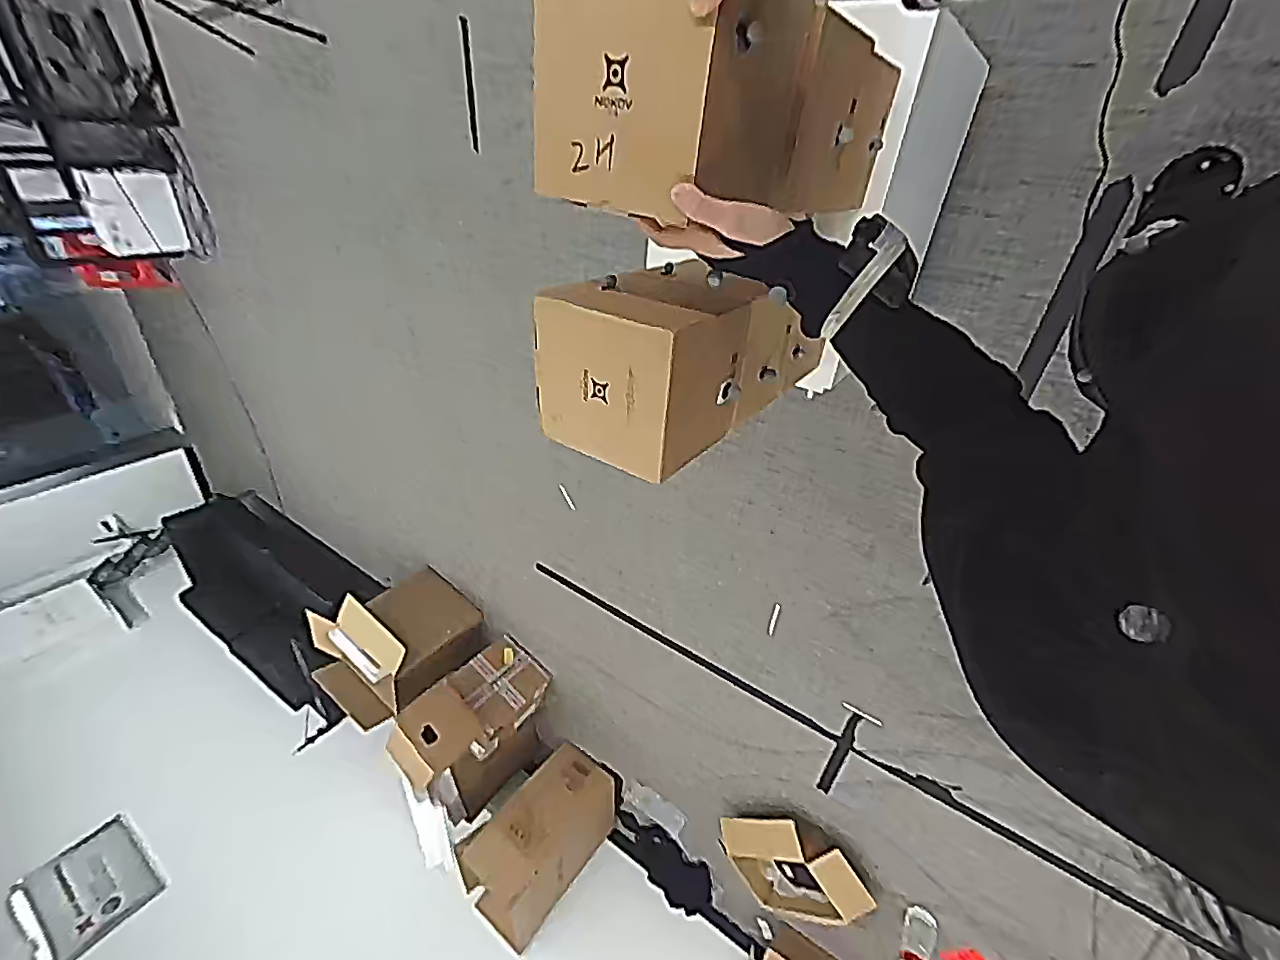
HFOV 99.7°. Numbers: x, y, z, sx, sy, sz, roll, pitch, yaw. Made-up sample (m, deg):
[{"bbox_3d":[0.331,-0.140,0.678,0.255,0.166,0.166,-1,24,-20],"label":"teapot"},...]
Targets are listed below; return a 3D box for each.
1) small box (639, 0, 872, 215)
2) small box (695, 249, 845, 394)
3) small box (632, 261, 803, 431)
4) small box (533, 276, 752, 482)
[{"bbox_3d":[0.123,-0.396,0.588,0.179,0.176,0.168,25,128,25],"label":"small box"},{"bbox_3d":[0.191,-0.256,0.844,0.179,0.176,0.168,25,129,28],"label":"small box"},{"bbox_3d":[0.098,-0.190,0.728,0.179,0.176,0.168,24,127,28],"label":"small box"},{"bbox_3d":[0.002,-0.126,0.613,0.179,0.176,0.168,23,128,28],"label":"small box"}]
